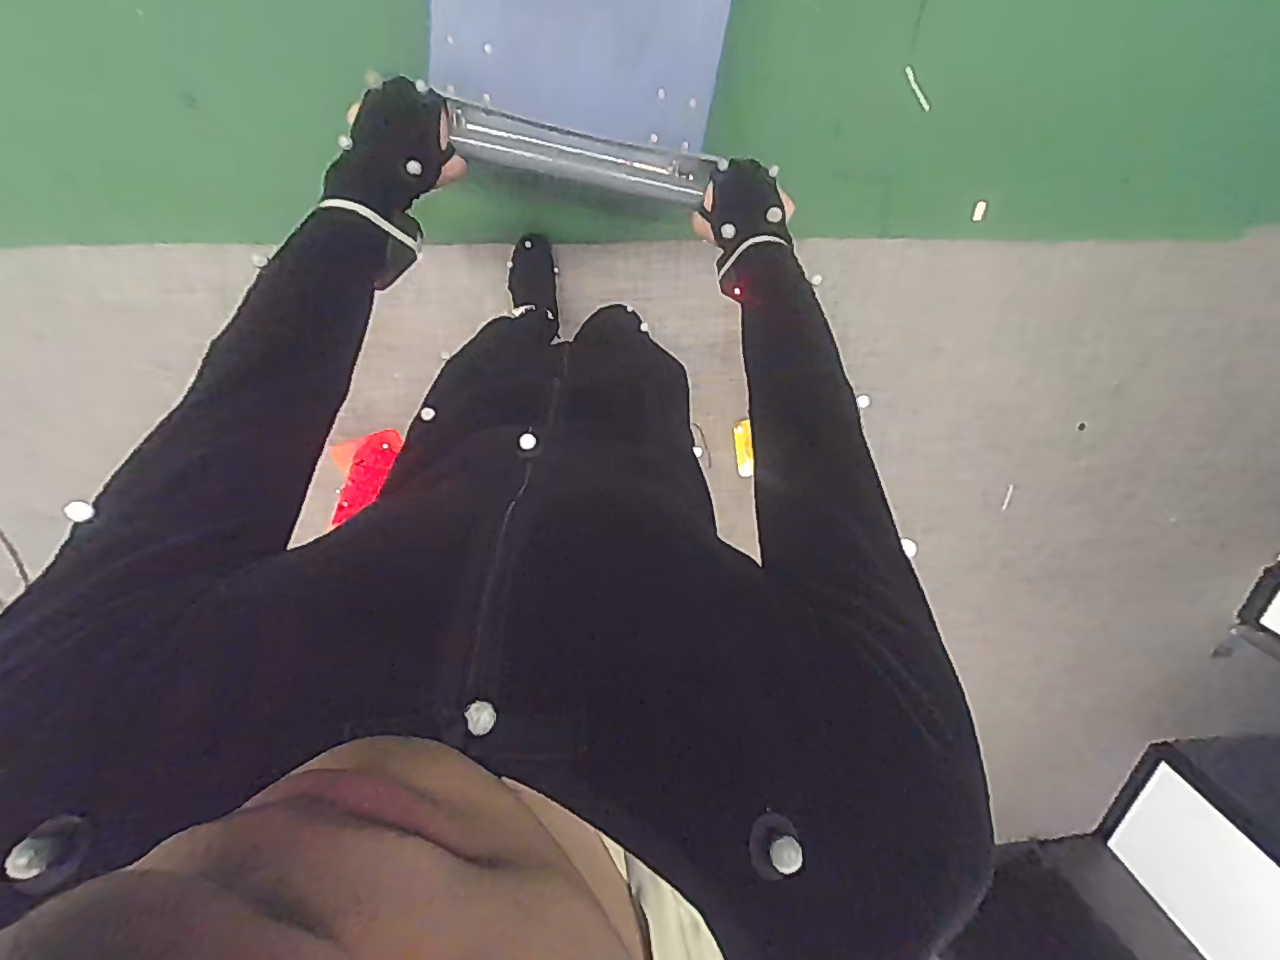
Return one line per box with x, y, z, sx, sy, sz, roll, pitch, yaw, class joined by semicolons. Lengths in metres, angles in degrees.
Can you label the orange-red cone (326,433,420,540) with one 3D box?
-0.748;0.047;1.431;0.199;0.360;0.198;-16;118;1;orange-red cone
